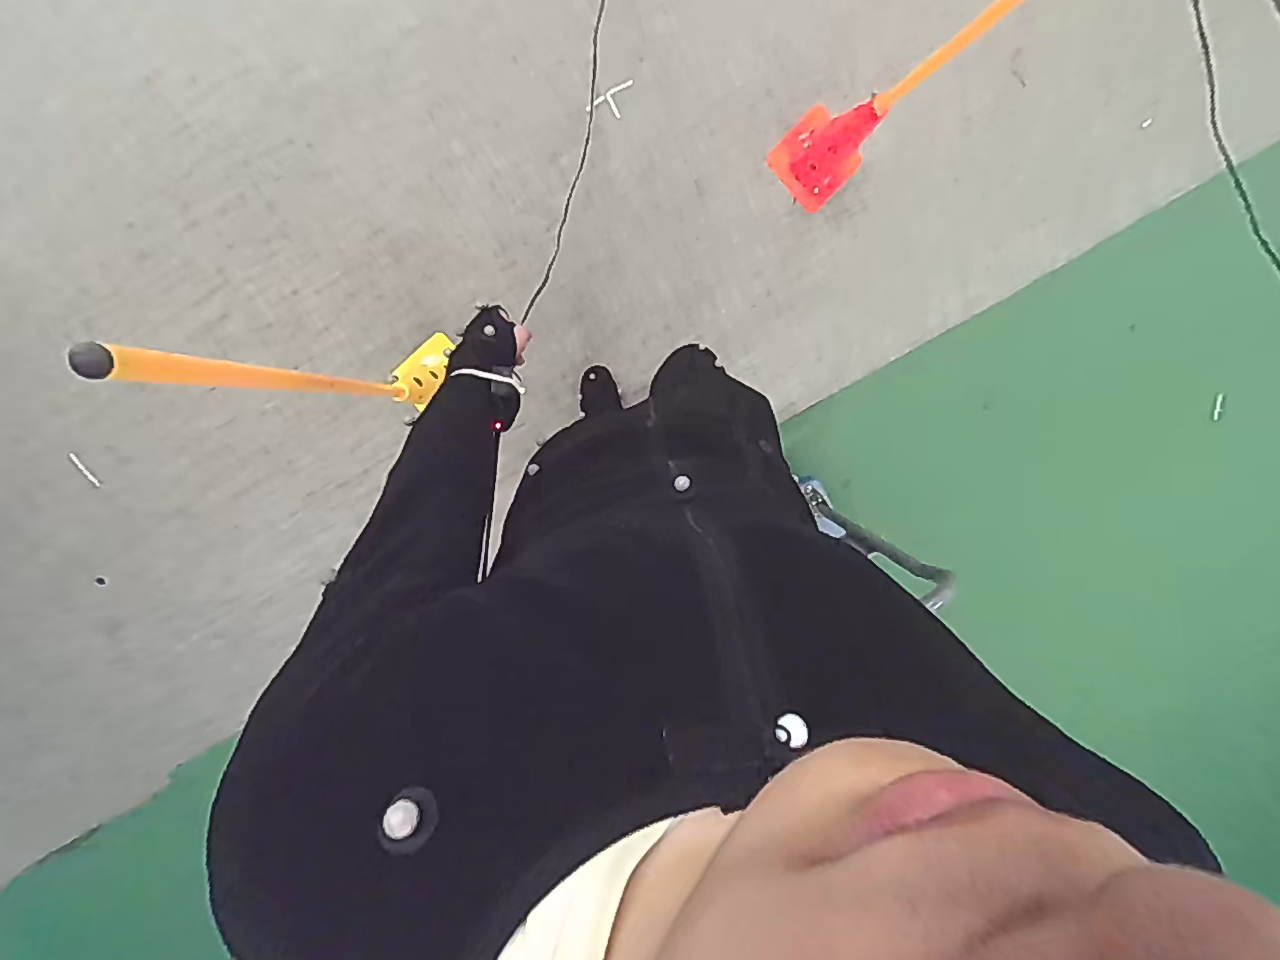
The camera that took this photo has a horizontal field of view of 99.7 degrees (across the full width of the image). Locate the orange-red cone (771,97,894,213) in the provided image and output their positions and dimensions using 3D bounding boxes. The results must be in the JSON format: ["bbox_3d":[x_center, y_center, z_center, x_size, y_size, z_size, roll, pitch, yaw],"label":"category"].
[{"bbox_3d":[0.491,-0.815,1.285,0.199,0.360,0.198,-44,104,5],"label":"orange-red cone"}]
